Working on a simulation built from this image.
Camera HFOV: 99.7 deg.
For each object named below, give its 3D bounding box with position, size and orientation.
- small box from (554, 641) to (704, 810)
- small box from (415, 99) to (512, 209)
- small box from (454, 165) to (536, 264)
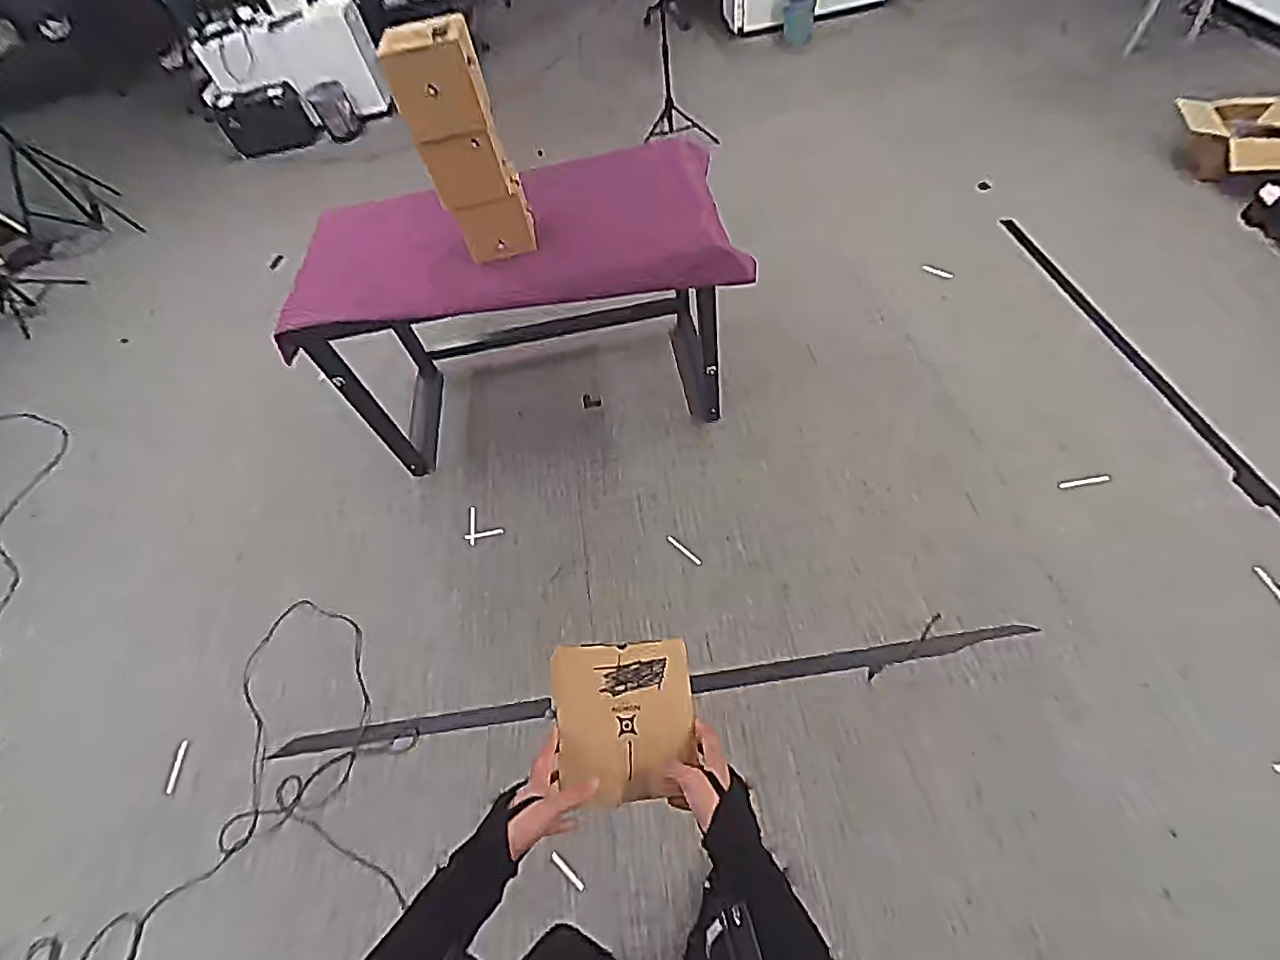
[{"bbox_3d":[-0.027,0.318,0.710,0.168,0.176,0.179,0,65,-11],"label":"small box"},{"bbox_3d":[-0.428,-0.800,1.338,0.179,0.176,0.168,-12,55,1],"label":"small box"},{"bbox_3d":[-0.389,-0.722,1.477,0.179,0.176,0.168,-12,54,0],"label":"small box"}]
